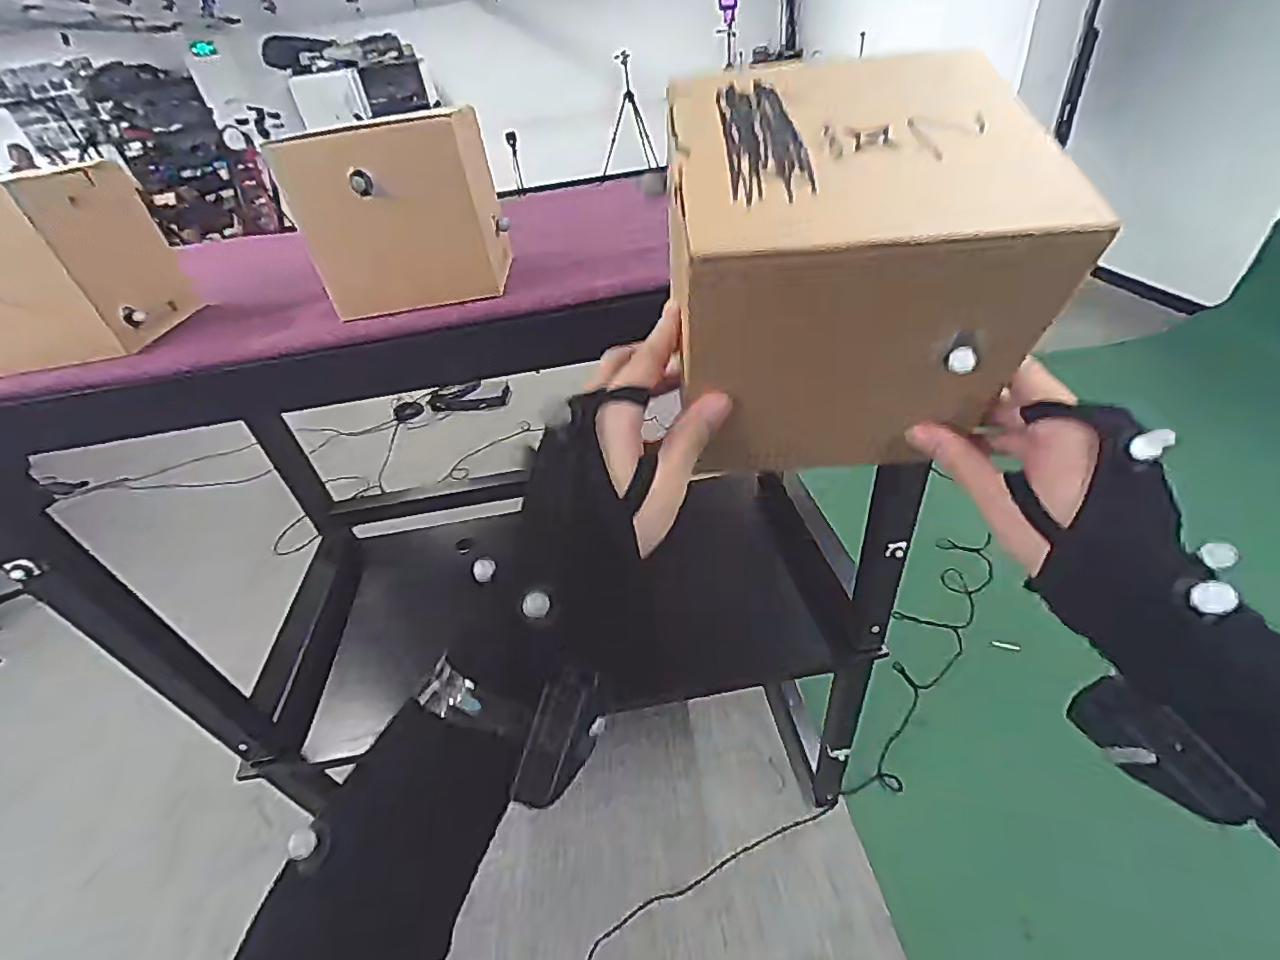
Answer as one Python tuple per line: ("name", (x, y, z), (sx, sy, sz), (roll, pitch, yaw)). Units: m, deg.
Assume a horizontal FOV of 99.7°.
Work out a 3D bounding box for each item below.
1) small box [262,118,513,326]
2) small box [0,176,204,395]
("small box", (-0.257, -0.285, 0.601), (0.179, 0.176, 0.168), (-10, 38, 0))
("small box", (-0.642, -0.214, 0.593), (0.179, 0.176, 0.168), (-12, 37, -2))
